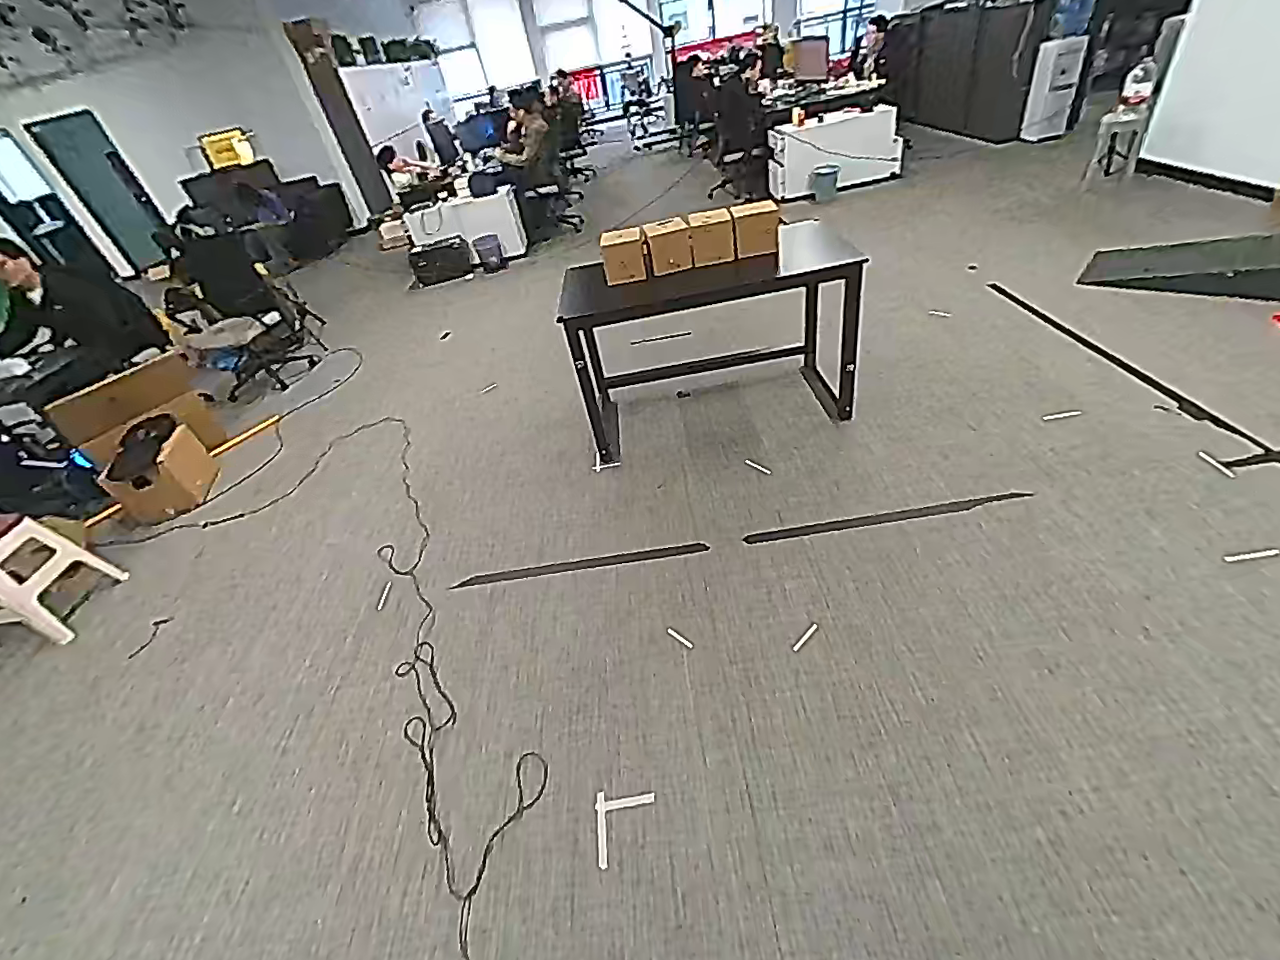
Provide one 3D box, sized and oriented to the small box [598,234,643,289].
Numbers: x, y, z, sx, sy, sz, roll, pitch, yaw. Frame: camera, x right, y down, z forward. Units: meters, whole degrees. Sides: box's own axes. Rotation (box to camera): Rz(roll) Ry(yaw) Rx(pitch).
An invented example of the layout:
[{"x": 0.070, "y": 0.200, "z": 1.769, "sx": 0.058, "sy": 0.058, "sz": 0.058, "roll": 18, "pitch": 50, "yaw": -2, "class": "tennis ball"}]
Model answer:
[{"x": -0.079, "y": -0.933, "z": 2.322, "sx": 0.168, "sy": 0.176, "sz": 0.179, "roll": -8, "pitch": 38, "yaw": 6, "class": "small box"}]
